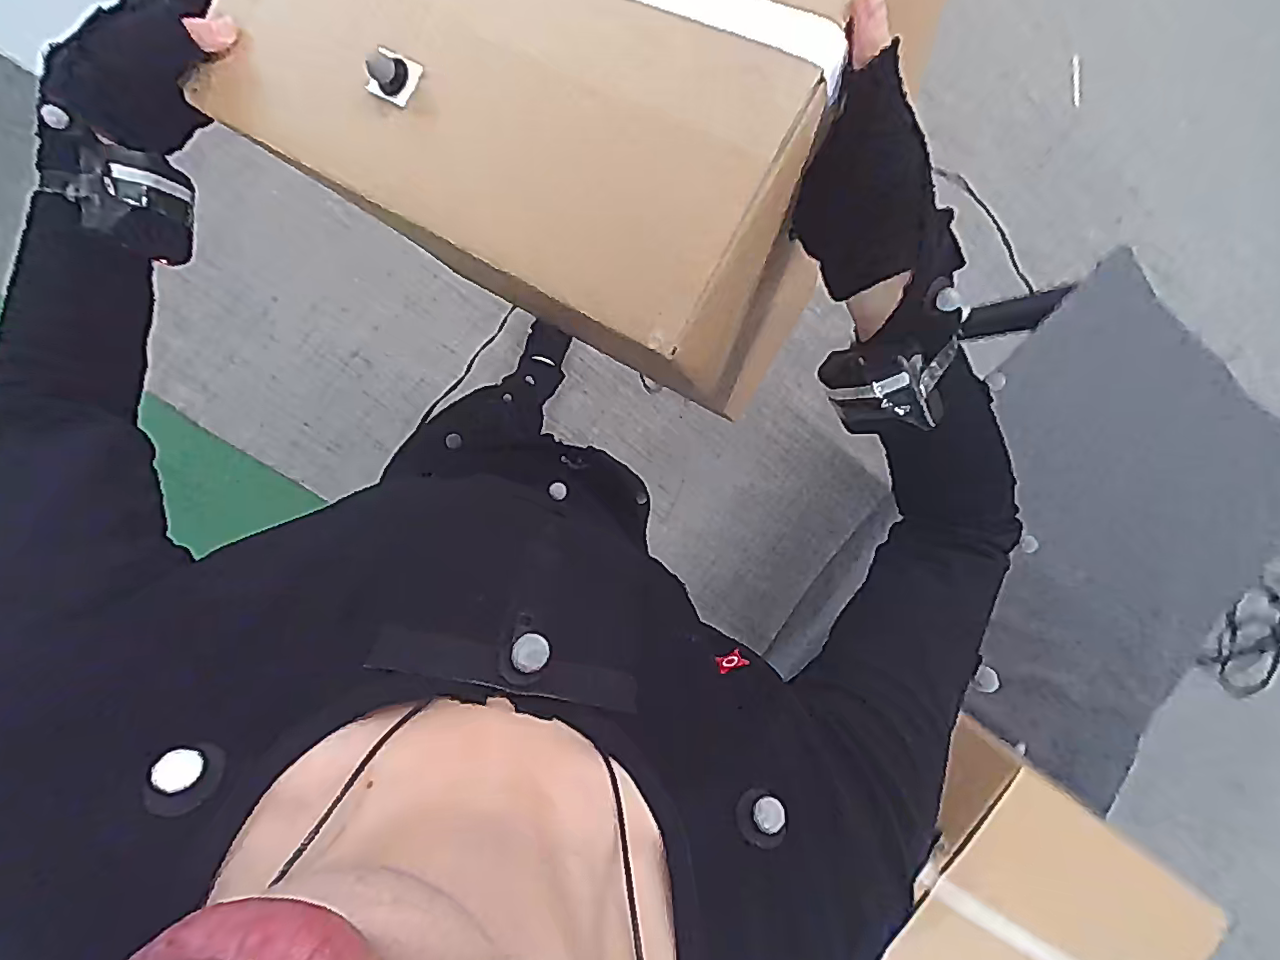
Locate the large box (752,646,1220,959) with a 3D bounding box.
[{"bbox_3d":[0.442,0.511,0.767,0.408,0.320,0.320,36,92,-12],"label":"large box"}]
